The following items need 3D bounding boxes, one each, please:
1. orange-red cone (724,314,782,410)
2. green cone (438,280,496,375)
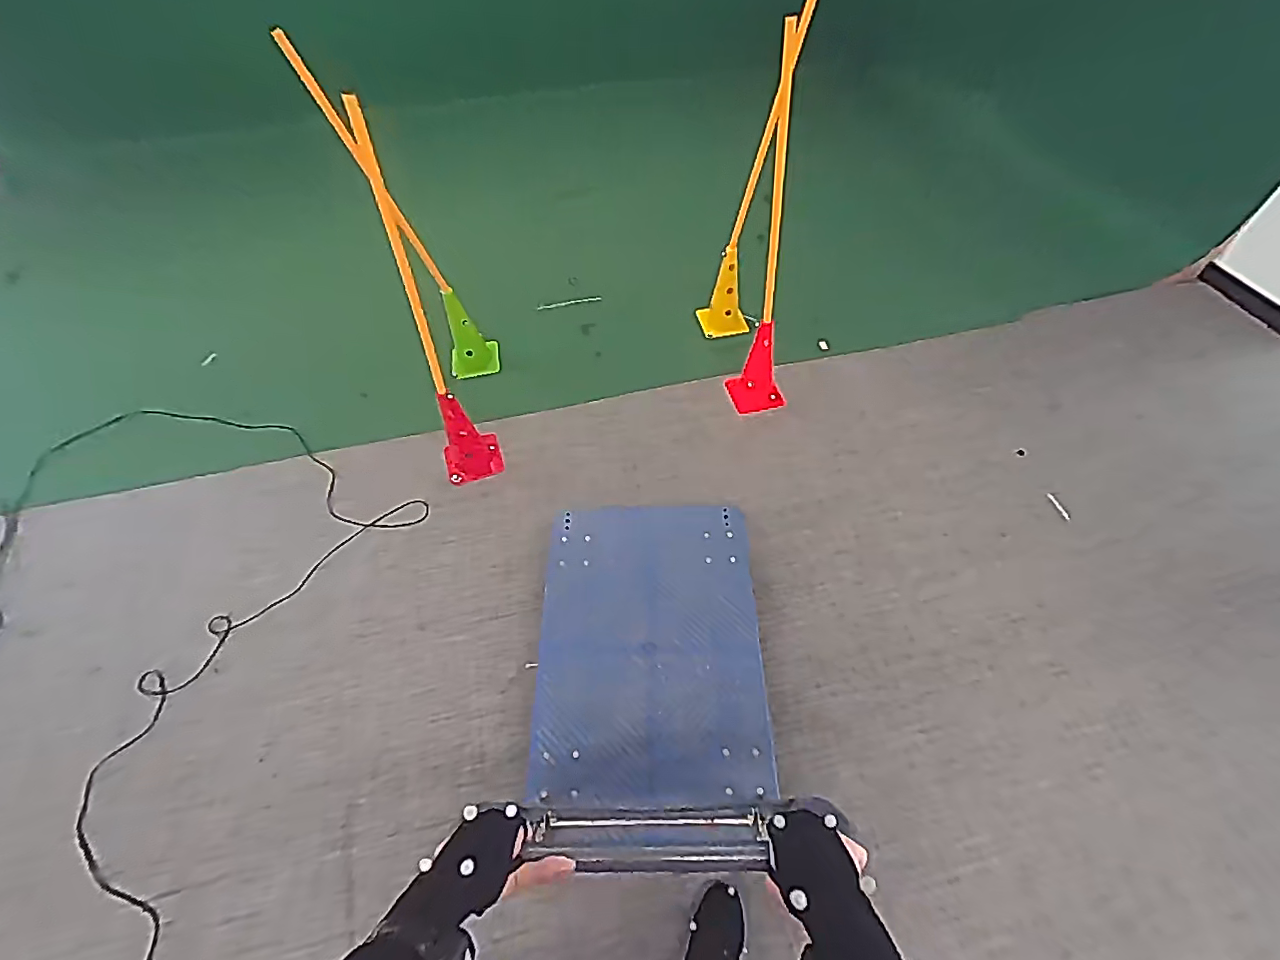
[{"bbox_3d":[0.441,-0.458,2.006,0.198,0.360,0.199,-11,53,-6],"label":"orange-red cone"},{"bbox_3d":[-0.725,-0.629,2.171,0.200,0.368,0.202,-12,54,-5],"label":"green cone"}]
